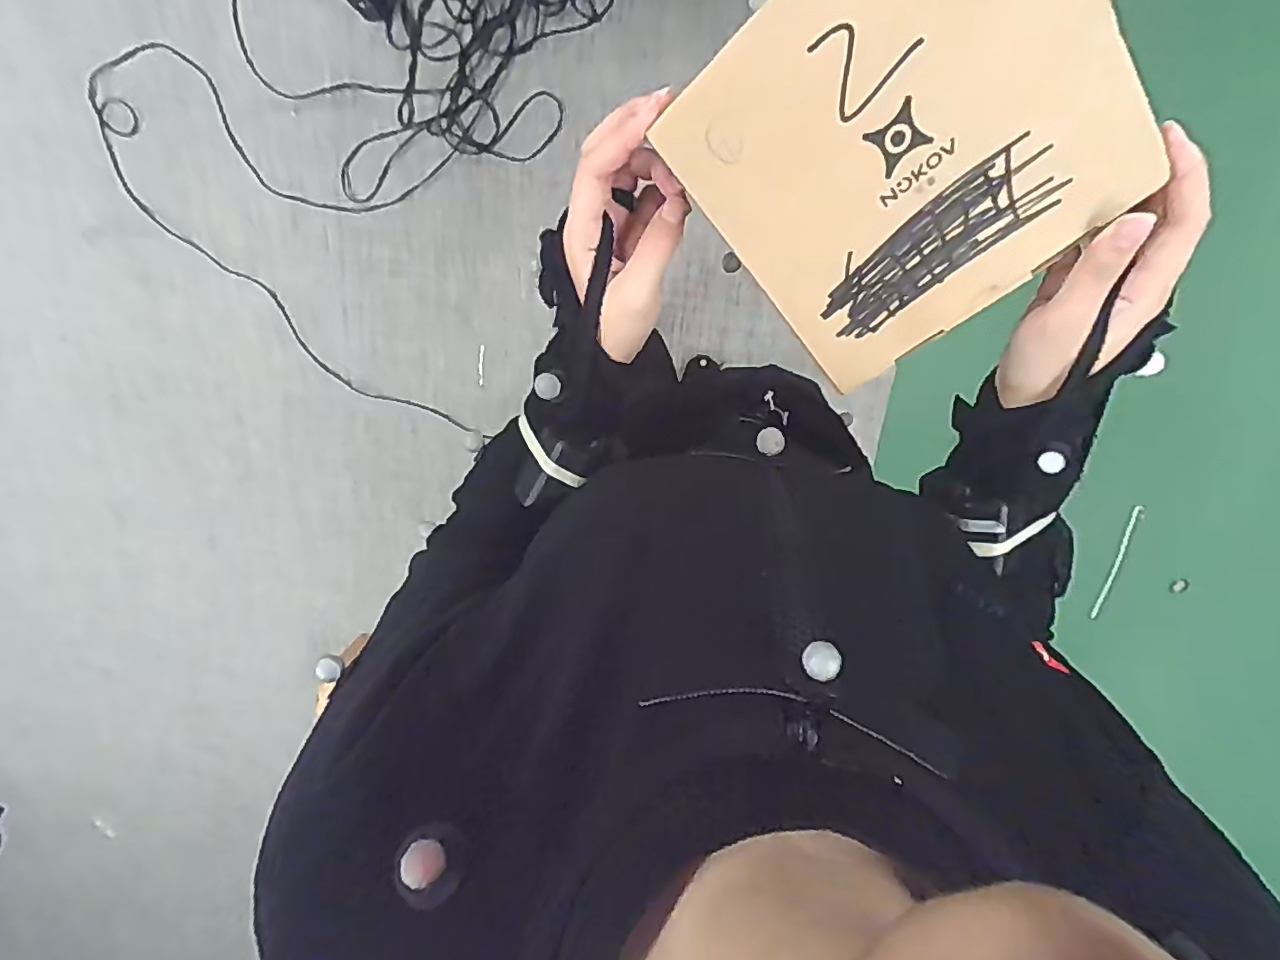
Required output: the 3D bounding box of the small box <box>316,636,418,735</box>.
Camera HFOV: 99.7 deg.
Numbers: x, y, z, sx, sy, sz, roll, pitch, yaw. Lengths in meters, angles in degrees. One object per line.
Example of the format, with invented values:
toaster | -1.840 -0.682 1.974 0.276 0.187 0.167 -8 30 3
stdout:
small box | -0.761 0.568 1.518 0.179 0.176 0.168 22 107 -4
